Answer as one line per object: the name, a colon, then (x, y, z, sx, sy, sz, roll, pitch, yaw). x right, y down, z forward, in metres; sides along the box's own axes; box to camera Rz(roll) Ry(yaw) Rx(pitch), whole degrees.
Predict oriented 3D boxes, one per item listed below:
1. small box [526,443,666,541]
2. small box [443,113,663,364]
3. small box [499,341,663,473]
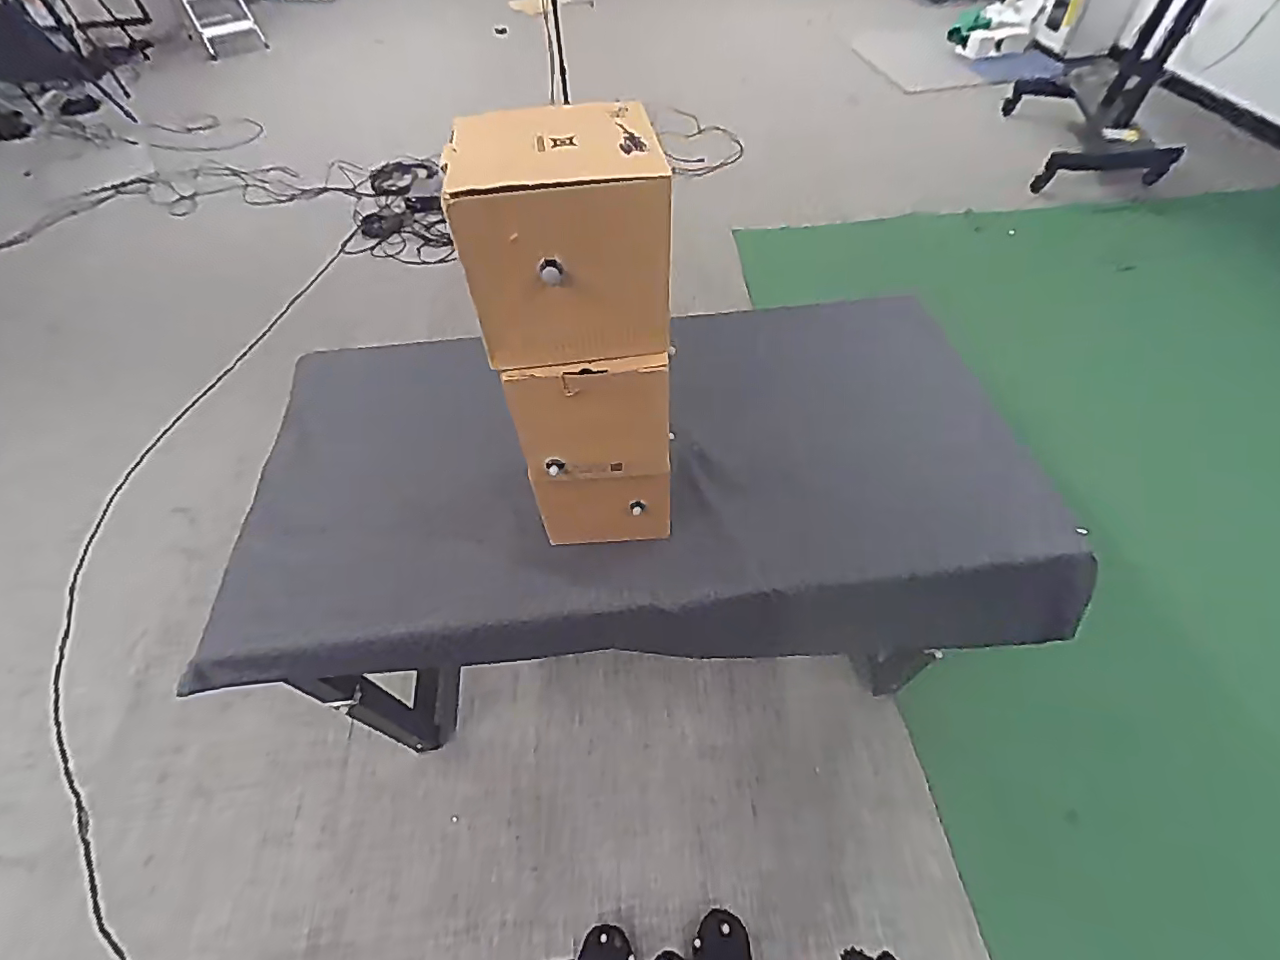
small box: (-0.056, -0.026, 0.780, 0.179, 0.176, 0.168, -4, 52, 1)
small box: (-0.077, -0.231, 0.528, 0.179, 0.176, 0.168, -9, 50, -6)
small box: (-0.063, -0.122, 0.647, 0.168, 0.176, 0.179, -6, 53, -2)
